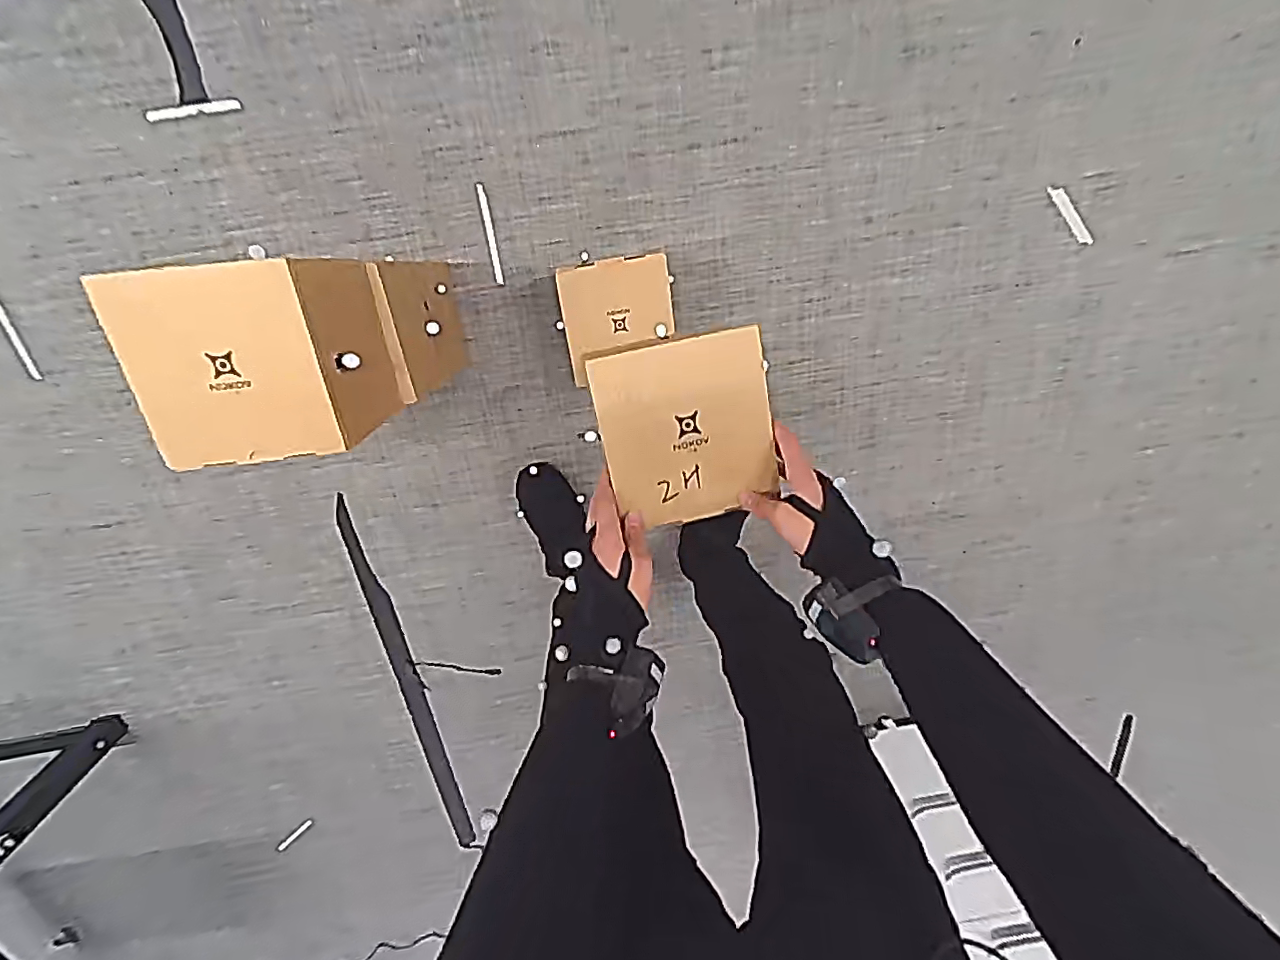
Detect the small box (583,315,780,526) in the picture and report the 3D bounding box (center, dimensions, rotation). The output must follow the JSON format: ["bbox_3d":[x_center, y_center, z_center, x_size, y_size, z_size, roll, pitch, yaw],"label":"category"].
[{"bbox_3d":[0.035,-0.072,0.586,0.168,0.176,0.179,-13,107,-3],"label":"small box"}]

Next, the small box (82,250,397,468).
[{"bbox_3d":[-0.370,-0.129,0.544,0.168,0.176,0.179,-7,113,-3],"label":"small box"}]

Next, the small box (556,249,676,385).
[{"bbox_3d":[-0.035,-0.267,0.875,0.168,0.176,0.179,-10,114,0],"label":"small box"}]

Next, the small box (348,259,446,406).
[{"bbox_3d":[-0.374,-0.186,0.697,0.179,0.176,0.168,-9,113,-3],"label":"small box"}]
